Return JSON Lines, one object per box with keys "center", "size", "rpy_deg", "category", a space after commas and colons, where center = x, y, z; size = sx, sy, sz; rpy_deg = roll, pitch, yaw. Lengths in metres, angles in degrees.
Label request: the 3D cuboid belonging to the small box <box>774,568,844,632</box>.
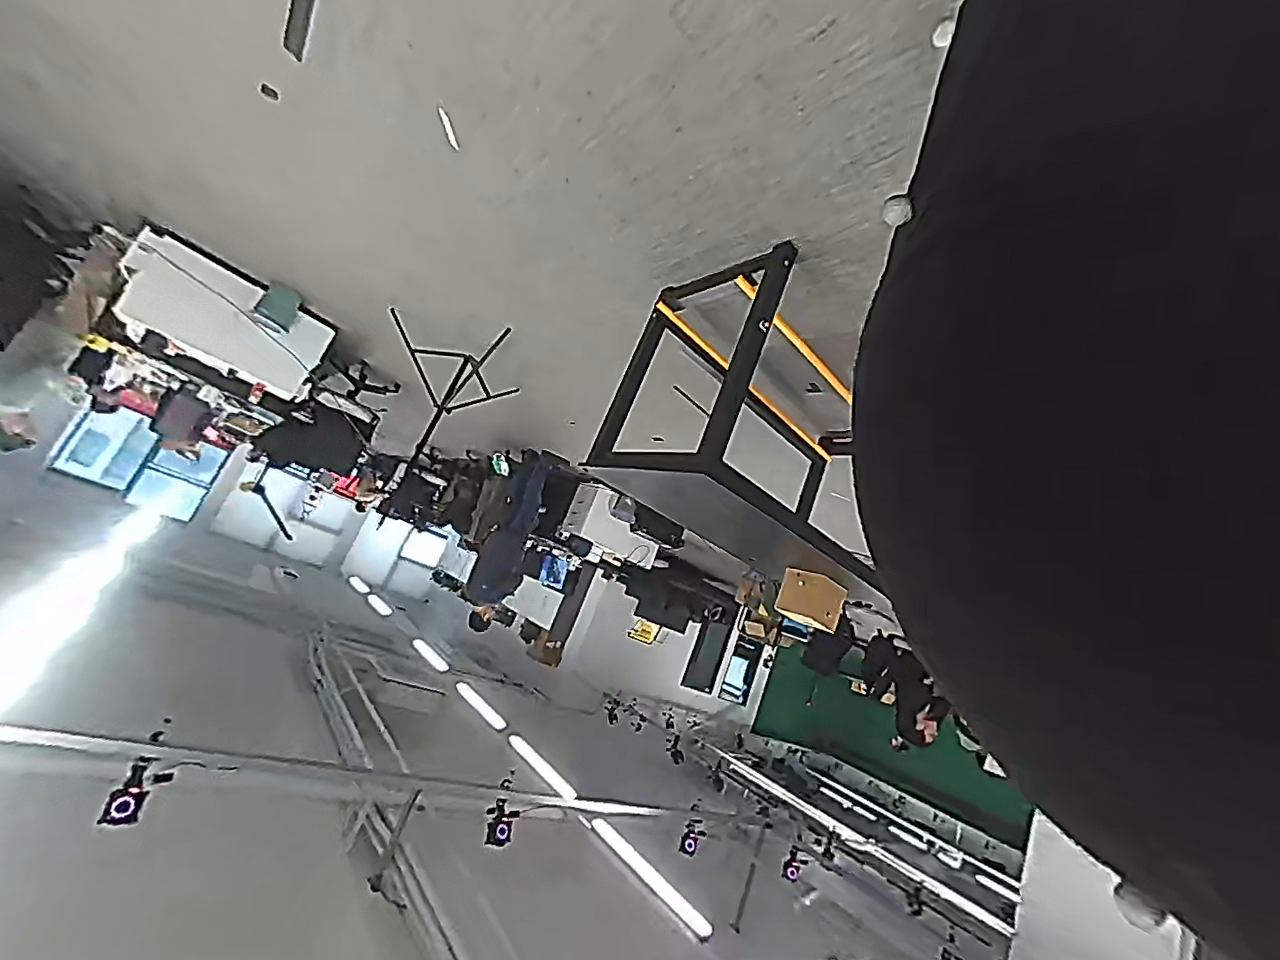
{"center": [0.641, 0.451, 2.039], "size": [0.179, 0.176, 0.168], "rpy_deg": [33, 163, -34], "category": "small box"}
